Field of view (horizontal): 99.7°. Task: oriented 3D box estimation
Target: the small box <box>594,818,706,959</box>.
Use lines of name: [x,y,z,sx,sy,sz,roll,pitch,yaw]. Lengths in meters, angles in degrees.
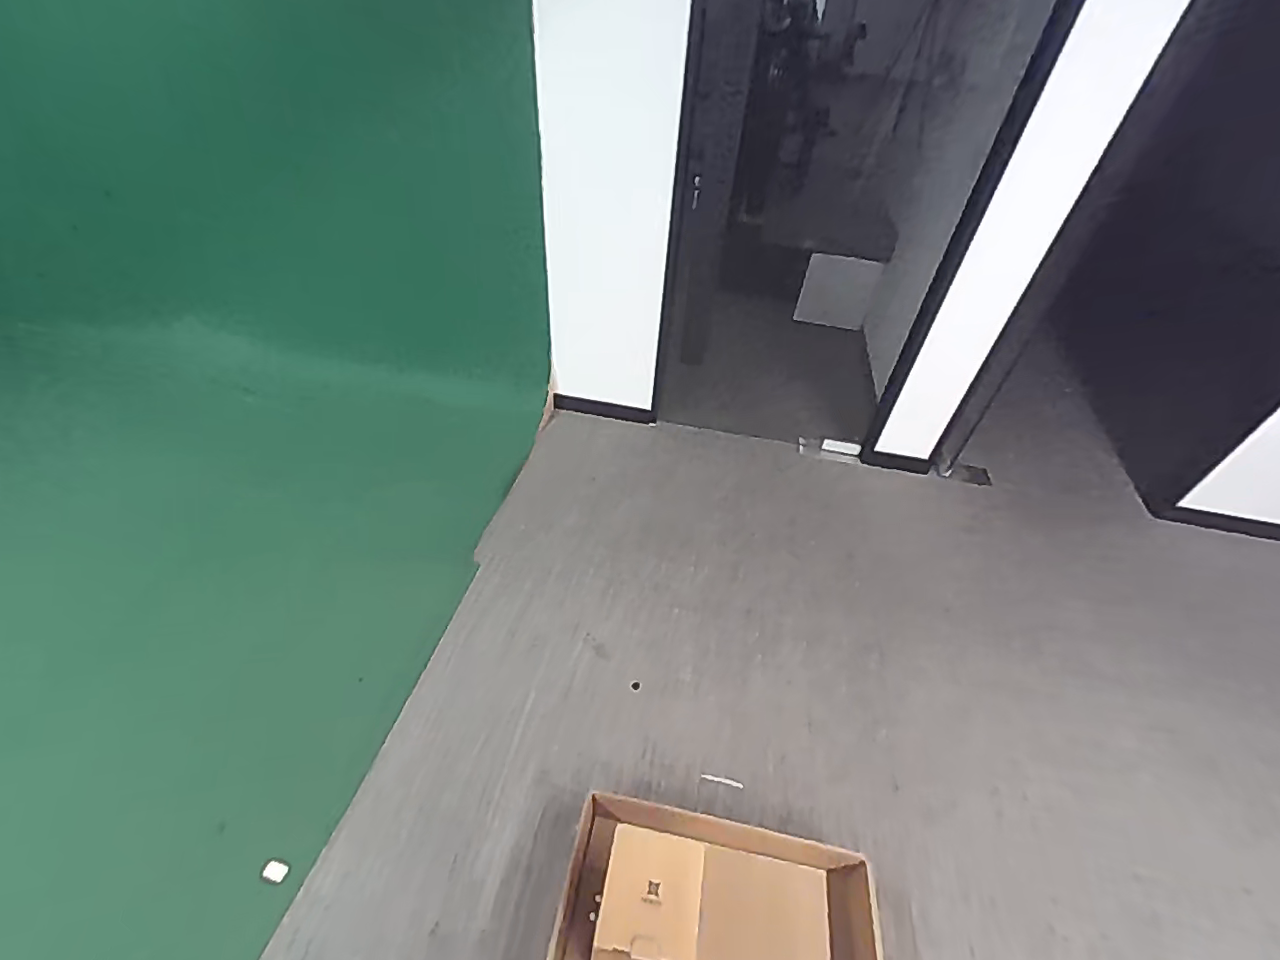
small box: [0.015,0.744,0.965,0.168,0.176,0.179,11,43,5]
